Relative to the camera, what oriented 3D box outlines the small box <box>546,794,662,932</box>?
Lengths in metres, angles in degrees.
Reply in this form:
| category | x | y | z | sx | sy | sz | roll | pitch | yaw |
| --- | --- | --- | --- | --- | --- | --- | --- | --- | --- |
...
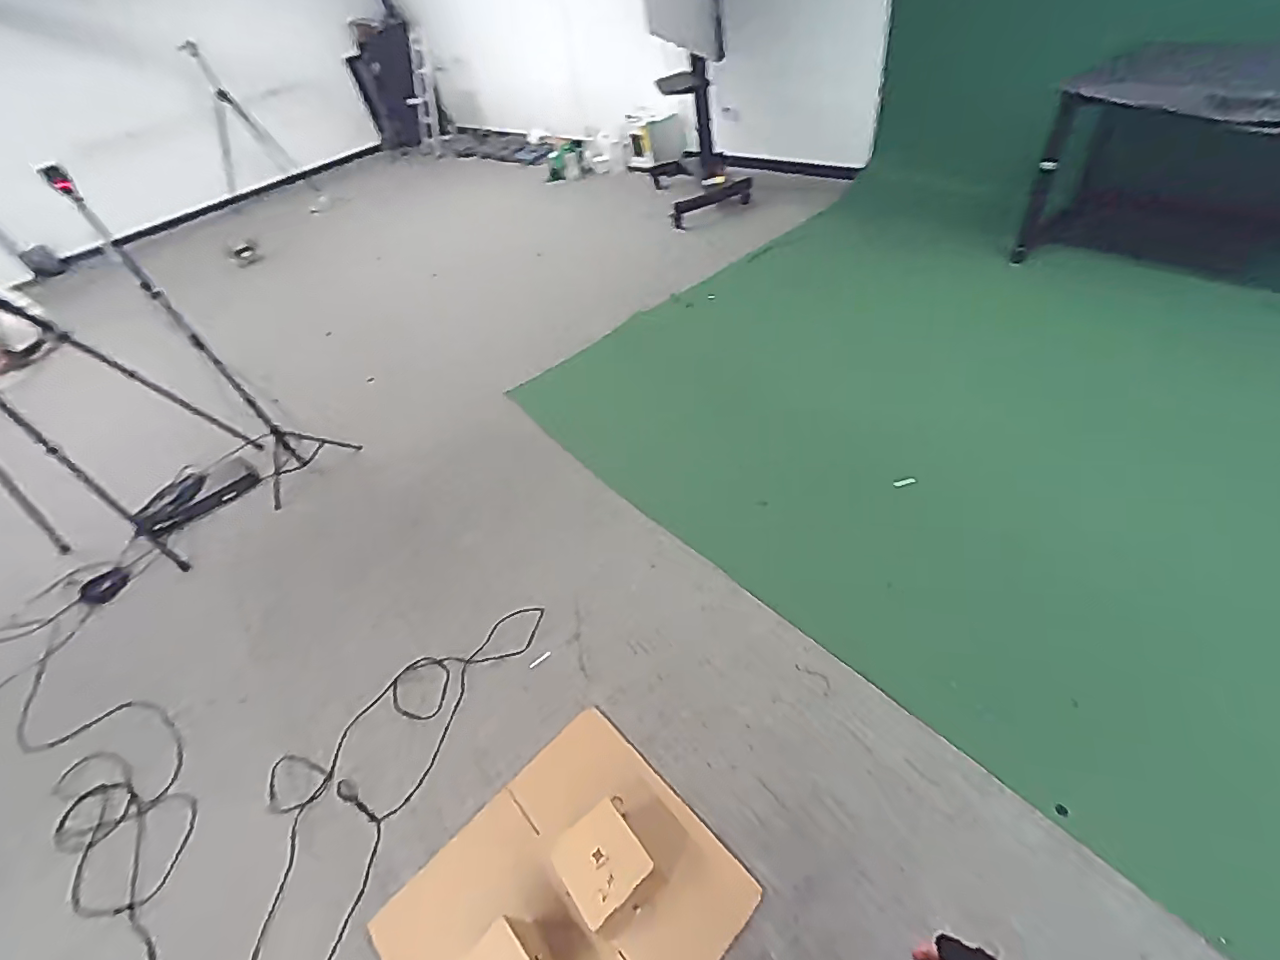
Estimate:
| category | x | y | z | sx | sy | sz | roll | pitch | yaw |
| --- | --- | --- | --- | --- | --- | --- | --- | --- | --- |
| small box | -0.074 | 0.837 | 1.178 | 0.168 | 0.176 | 0.179 | -36 | 49 | -19 |

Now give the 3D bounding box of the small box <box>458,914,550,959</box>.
| category | x | y | z | sx | sy | sz | roll | pitch | yaw |
| --- | --- | --- | --- | --- | --- | --- | --- | --- | --- |
| small box | -0.263 | 1.004 | 1.057 | 0.179 | 0.176 | 0.168 | 30 | 60 | 36 |
